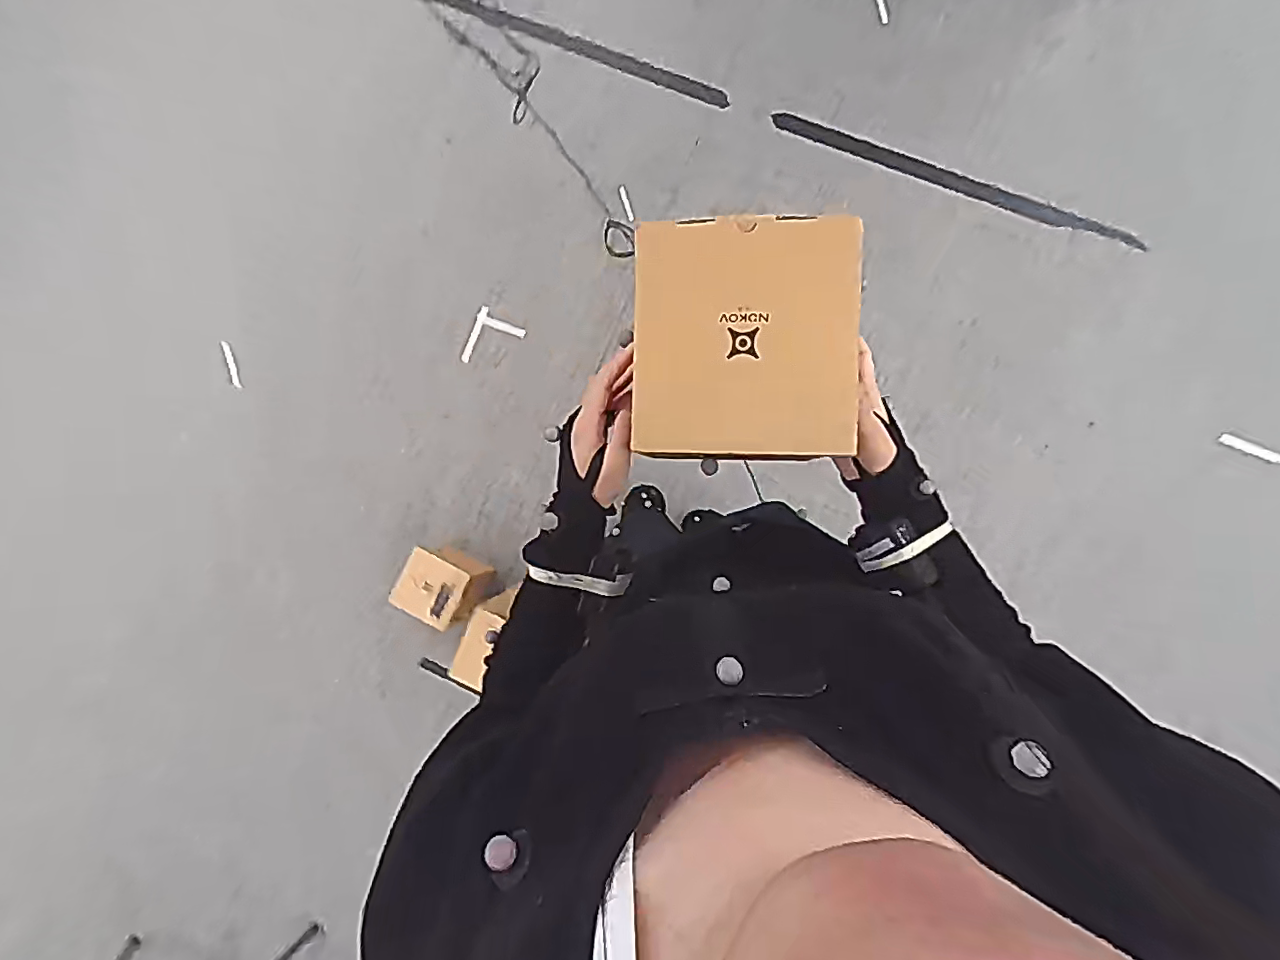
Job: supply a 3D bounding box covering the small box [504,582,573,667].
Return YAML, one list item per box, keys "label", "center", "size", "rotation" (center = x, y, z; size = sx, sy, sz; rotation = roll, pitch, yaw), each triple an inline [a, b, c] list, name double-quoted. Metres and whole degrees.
- label: "small box"
  center: [-0.297, 0.395, 1.451]
  size: [0.168, 0.176, 0.179]
  rotation: [26, 90, 6]

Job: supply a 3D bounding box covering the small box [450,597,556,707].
- label: "small box"
  center: [-0.314, 0.397, 1.287]
  size: [0.168, 0.176, 0.179]
  rotation: [23, 90, 7]

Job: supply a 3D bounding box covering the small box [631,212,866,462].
- label: "small box"
  center: [0.087, -0.107, 0.474]
  size: [0.168, 0.176, 0.179]
  rotation: [2, 89, 6]
